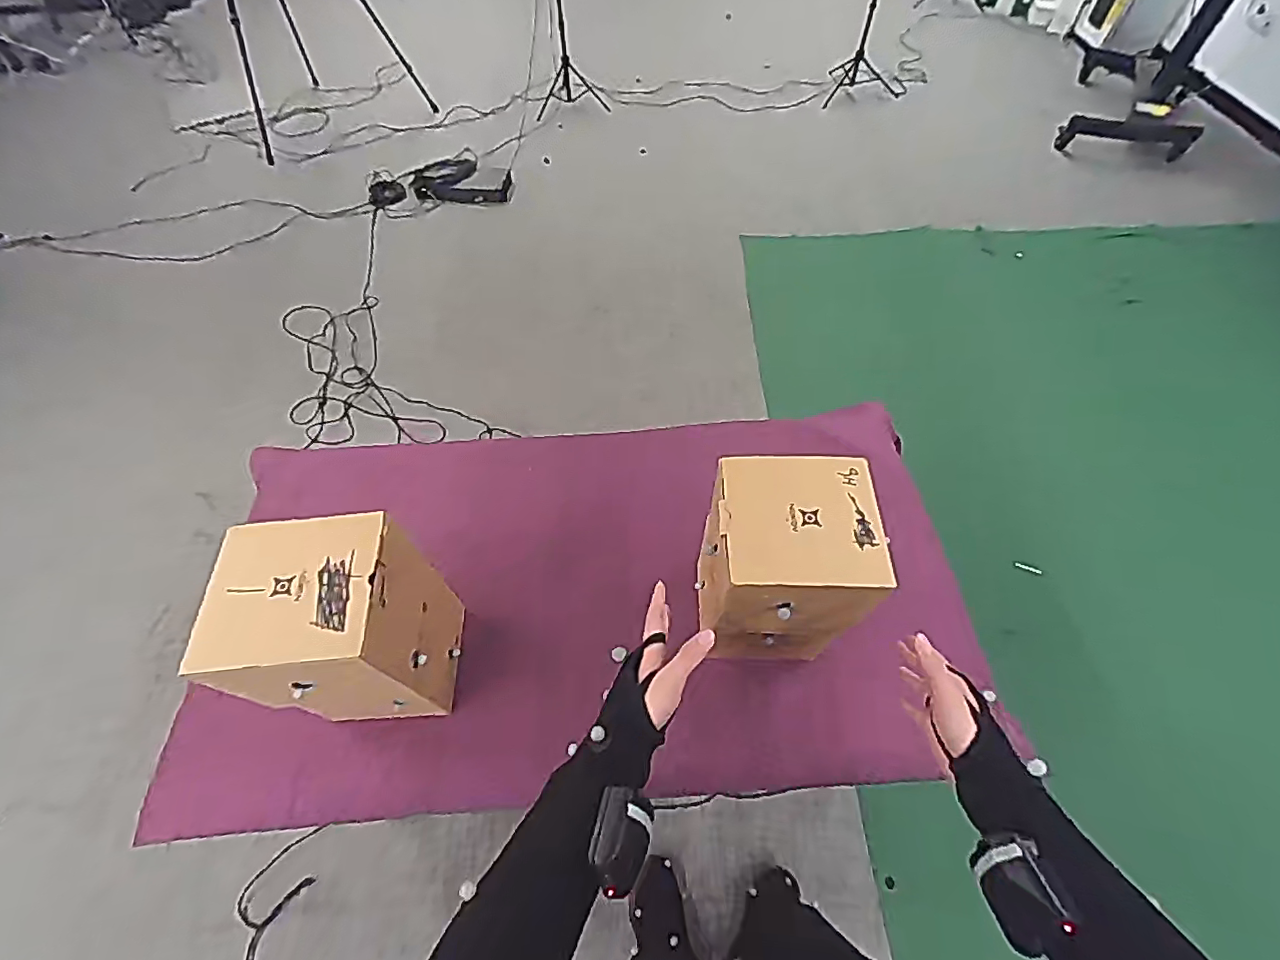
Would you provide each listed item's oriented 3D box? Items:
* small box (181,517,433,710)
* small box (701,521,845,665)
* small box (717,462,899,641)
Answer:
[{"bbox_3d":[-0.355,0.158,0.624,0.179,0.176,0.168,-5,57,-3],"label":"small box"},{"bbox_3d":[0.188,0.174,0.812,0.179,0.176,0.168,0,57,2],"label":"small box"},{"bbox_3d":[0.187,0.094,0.668,0.179,0.176,0.168,1,57,2],"label":"small box"}]
